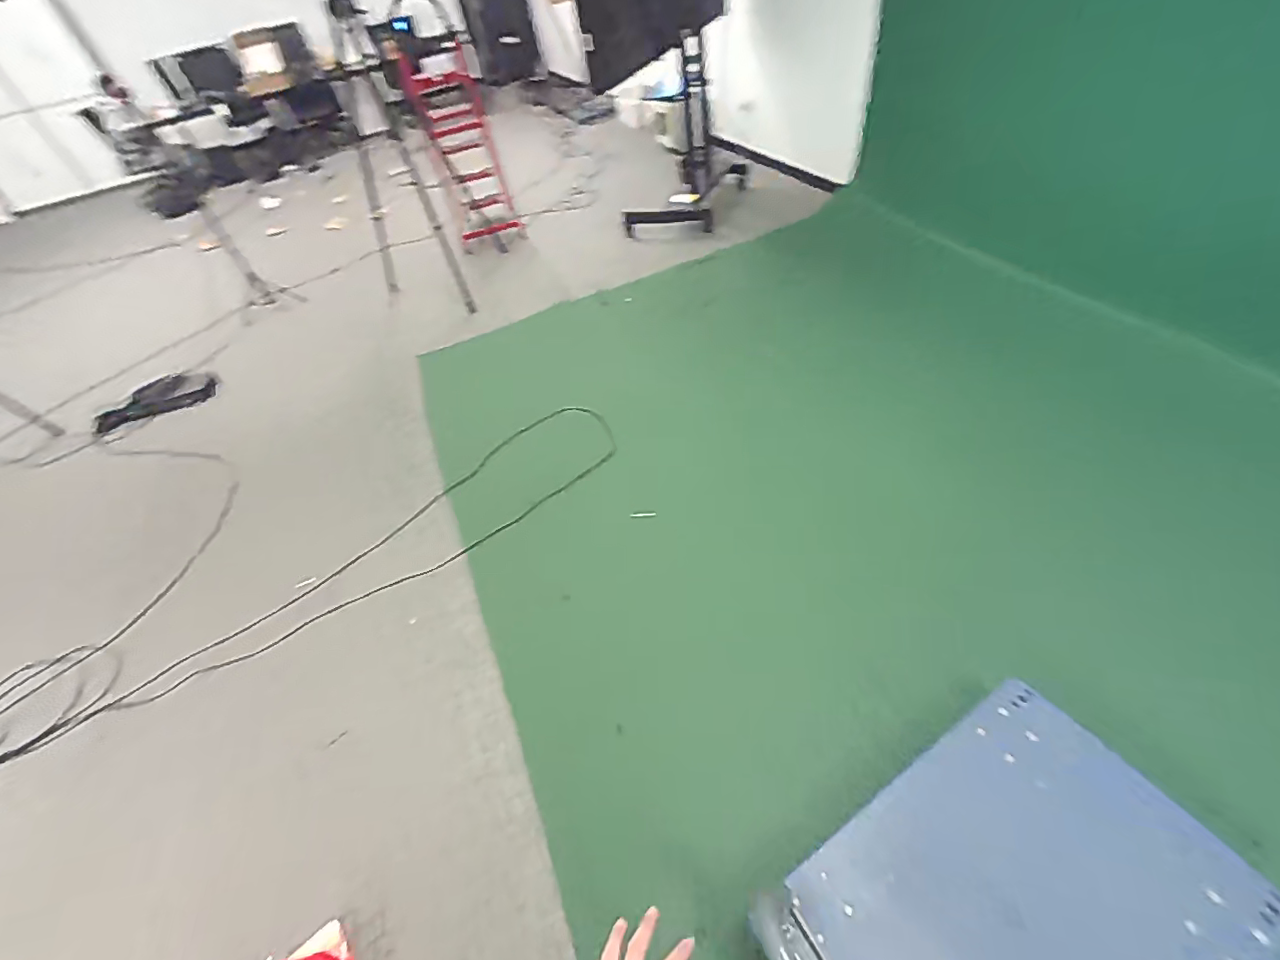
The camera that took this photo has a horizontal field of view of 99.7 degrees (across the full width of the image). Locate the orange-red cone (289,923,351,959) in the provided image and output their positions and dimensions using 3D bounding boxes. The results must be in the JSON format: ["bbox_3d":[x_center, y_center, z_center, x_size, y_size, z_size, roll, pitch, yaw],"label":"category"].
[{"bbox_3d":[-0.793,1.077,1.137,0.198,0.360,0.199,-34,49,-20],"label":"orange-red cone"}]
